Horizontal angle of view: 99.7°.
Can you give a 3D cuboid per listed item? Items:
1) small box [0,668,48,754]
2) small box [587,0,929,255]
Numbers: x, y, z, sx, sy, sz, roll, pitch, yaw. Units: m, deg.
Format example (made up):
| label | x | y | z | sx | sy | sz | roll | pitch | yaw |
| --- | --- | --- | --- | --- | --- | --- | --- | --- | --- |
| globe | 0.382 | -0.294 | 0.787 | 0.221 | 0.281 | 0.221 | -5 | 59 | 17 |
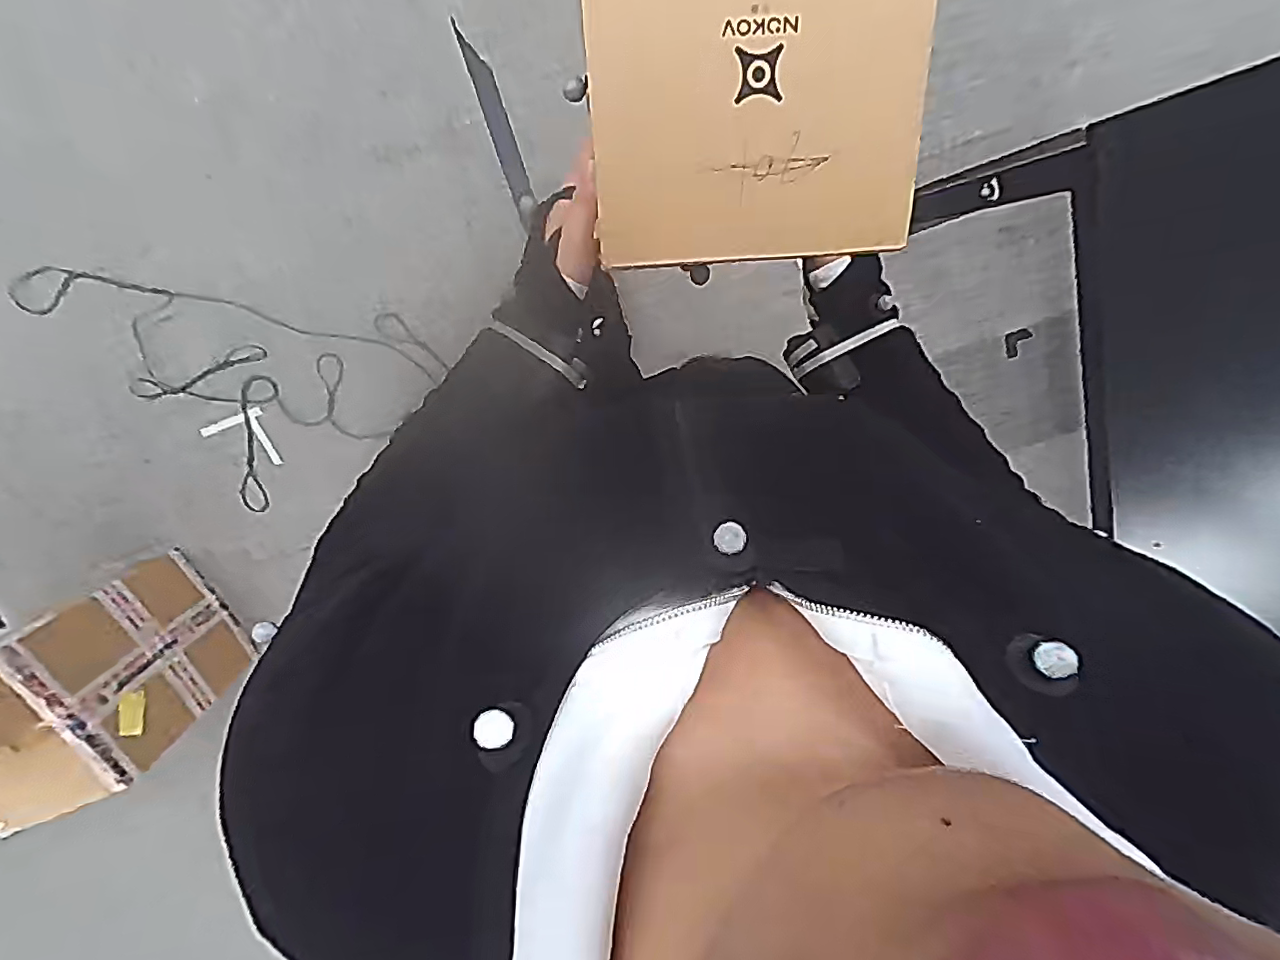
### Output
| label | x | y | z | sx | sy | sz | roll | pitch | yaw |
| --- | --- | --- | --- | --- | --- | --- | --- | --- | --- |
| small box | -1.322 | 0.474 | 1.023 | 0.168 | 0.176 | 0.179 | -27 | 107 | 2 |
| small box | 0.054 | -0.240 | 0.337 | 0.168 | 0.176 | 0.179 | -4 | 114 | 0 |
